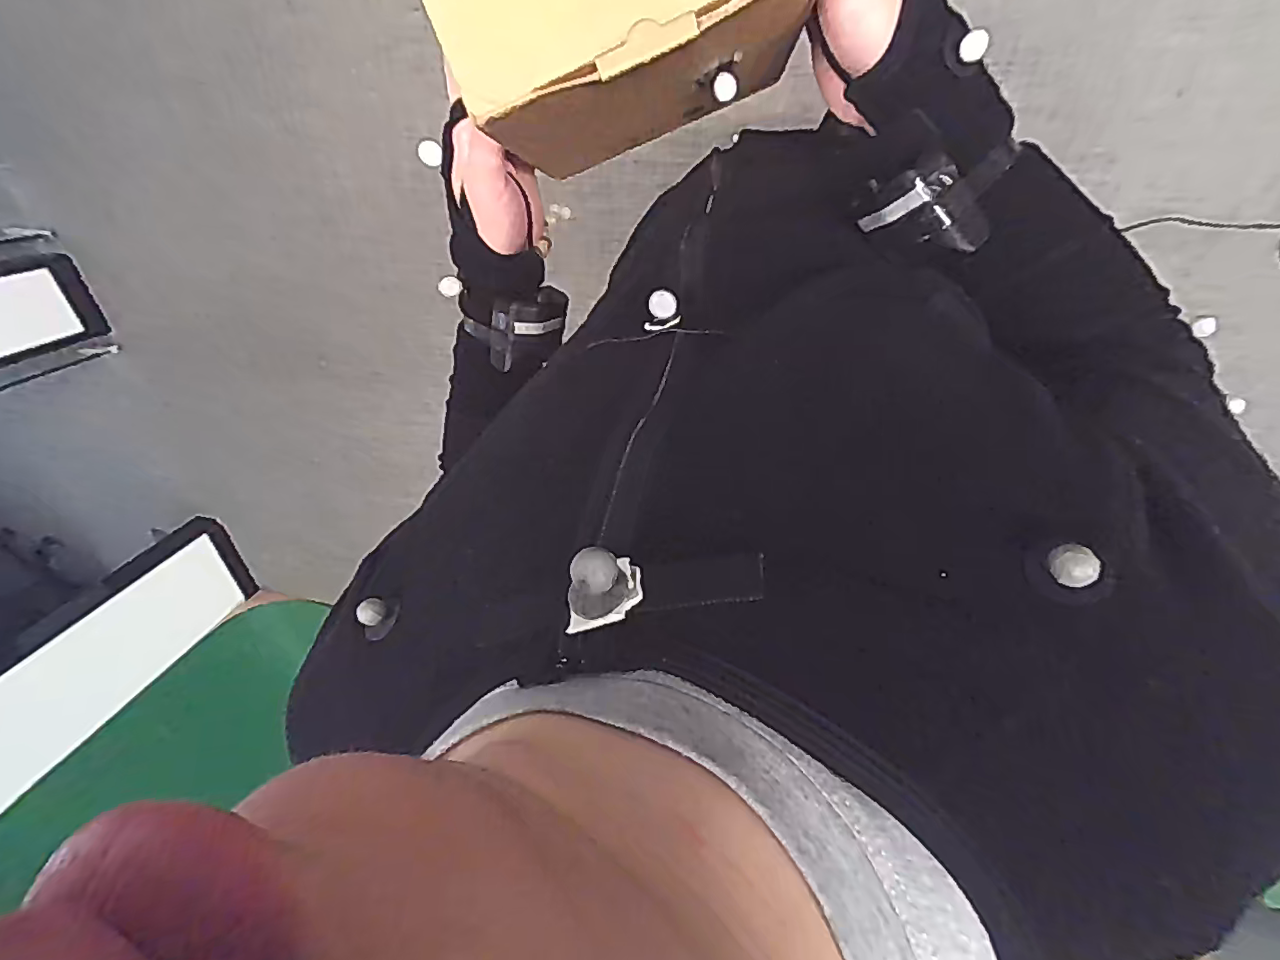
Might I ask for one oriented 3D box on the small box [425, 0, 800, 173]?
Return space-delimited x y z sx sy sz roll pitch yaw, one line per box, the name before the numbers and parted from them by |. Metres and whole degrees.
small box | -0.019 -0.284 0.280 0.168 0.176 0.179 -18 107 11
